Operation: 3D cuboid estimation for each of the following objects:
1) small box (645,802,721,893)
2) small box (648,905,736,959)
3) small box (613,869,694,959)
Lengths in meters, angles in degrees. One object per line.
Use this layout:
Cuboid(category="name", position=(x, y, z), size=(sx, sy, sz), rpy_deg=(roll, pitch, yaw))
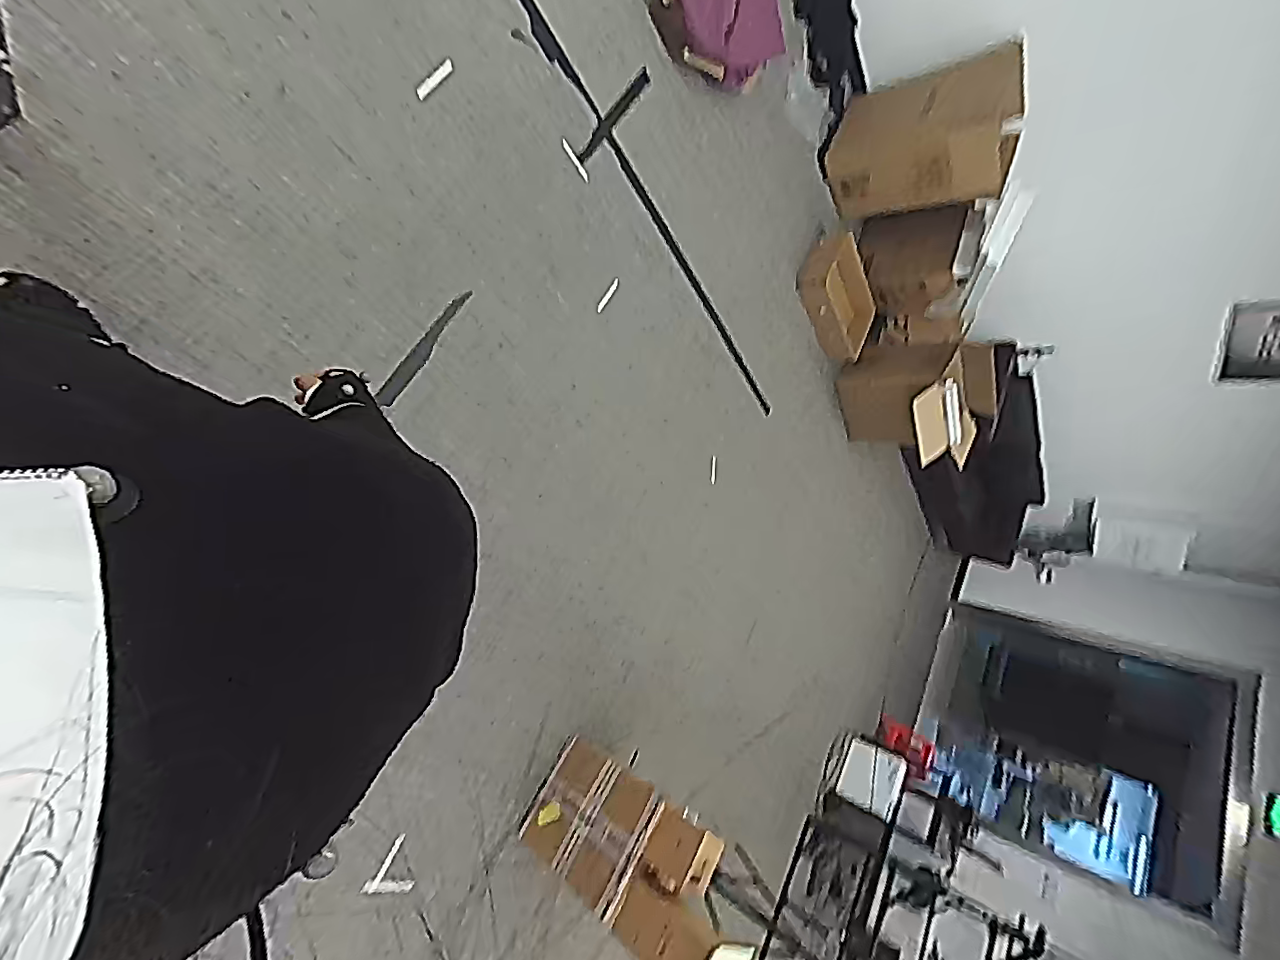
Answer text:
Cuboid(category="small box", position=(0.139, 1.238, 1.829), size=(0.179, 0.176, 0.168), rpy_deg=(-56, 130, -25))
Cuboid(category="small box", position=(0.157, 1.442, 1.649), size=(0.179, 0.176, 0.168), rpy_deg=(47, 66, -40))
Cuboid(category="small box", position=(0.037, 1.416, 1.757), size=(0.168, 0.176, 0.179), rpy_deg=(45, 67, -40))
